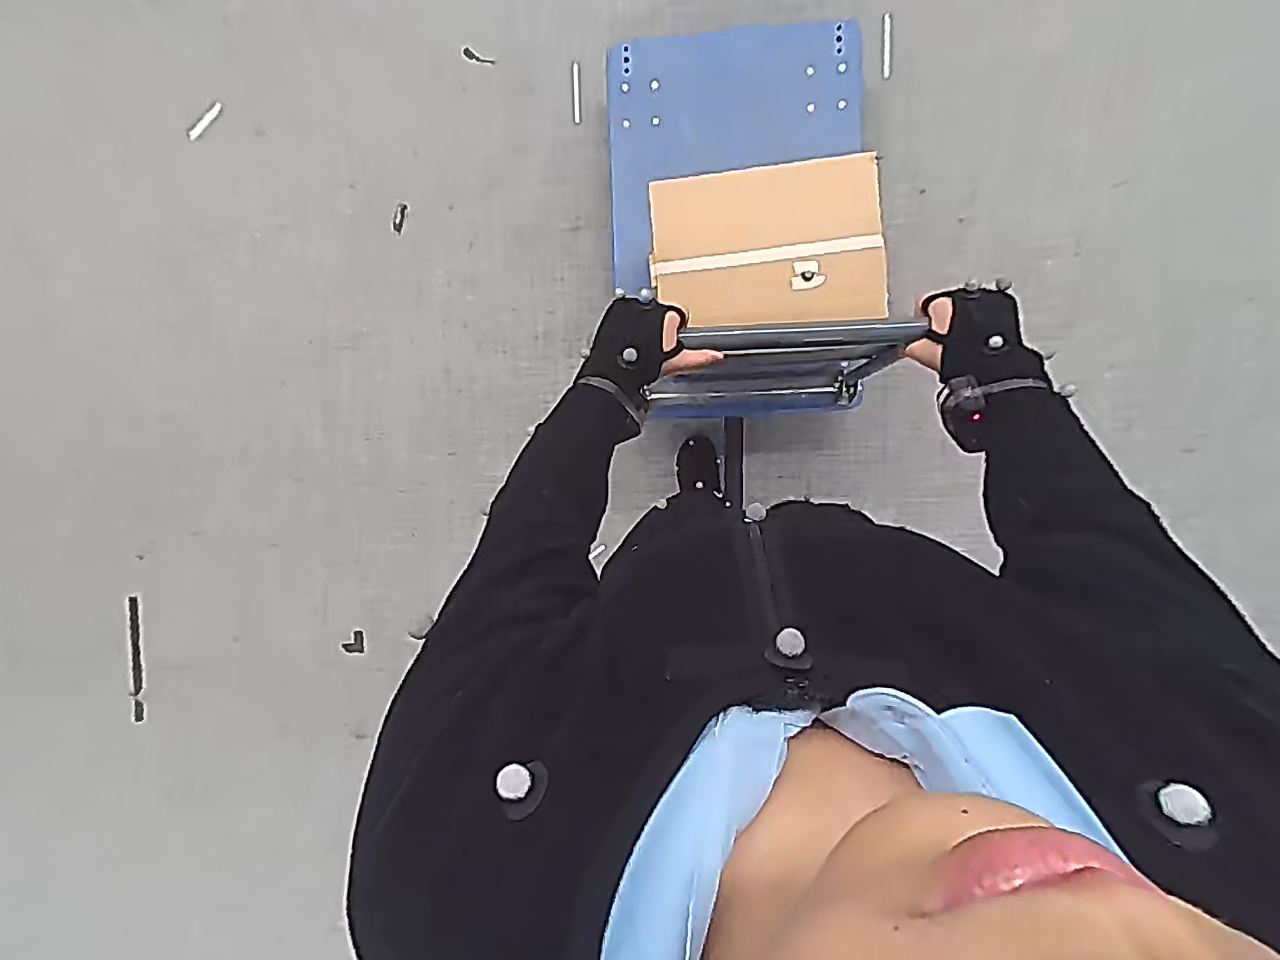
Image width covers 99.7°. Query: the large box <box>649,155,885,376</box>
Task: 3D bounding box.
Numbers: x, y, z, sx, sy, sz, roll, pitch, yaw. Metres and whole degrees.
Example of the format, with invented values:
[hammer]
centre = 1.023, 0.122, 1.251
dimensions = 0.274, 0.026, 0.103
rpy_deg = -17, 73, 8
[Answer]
[large box]
centre = 0.239, -0.412, 1.128
dimensions = 0.408, 0.320, 0.320
rpy_deg = -5, 94, 4
